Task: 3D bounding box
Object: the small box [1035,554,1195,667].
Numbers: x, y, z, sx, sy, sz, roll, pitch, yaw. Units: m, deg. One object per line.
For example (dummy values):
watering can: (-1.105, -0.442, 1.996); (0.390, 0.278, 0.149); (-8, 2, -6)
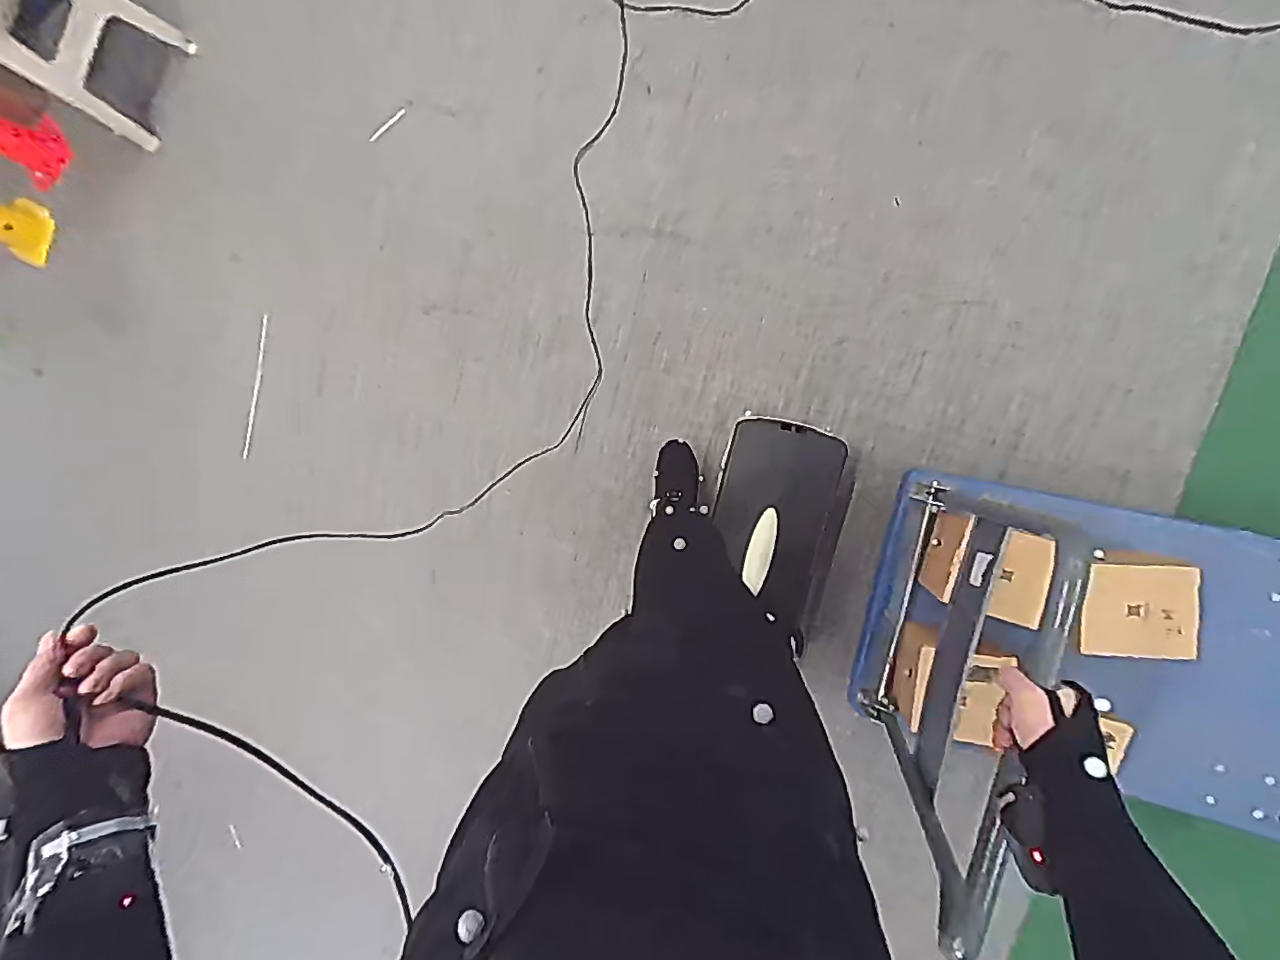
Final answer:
small box: (0.878, 0.236, 1.018); (0.179, 0.176, 0.168); (0, 93, 14)
